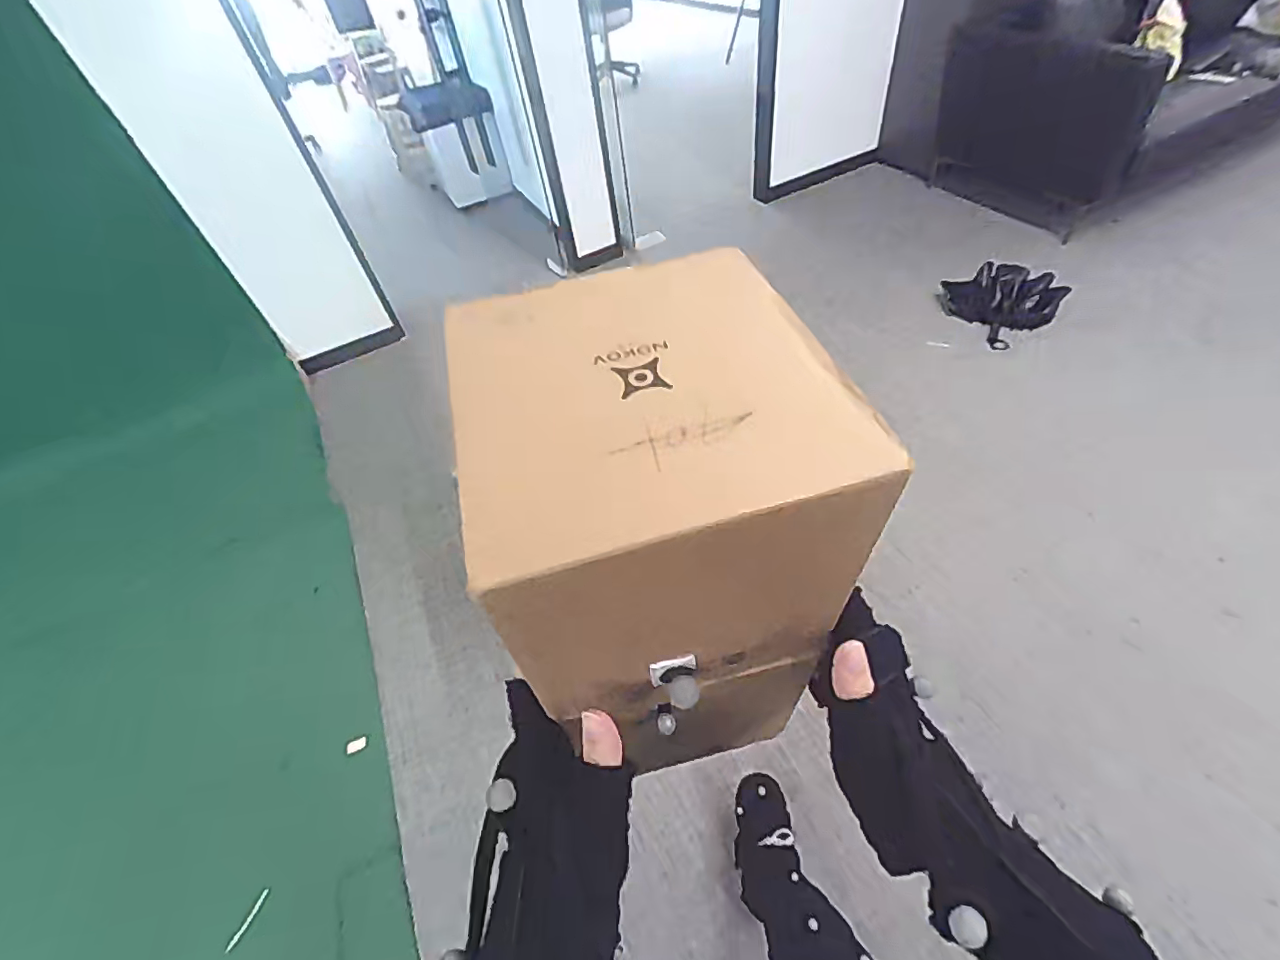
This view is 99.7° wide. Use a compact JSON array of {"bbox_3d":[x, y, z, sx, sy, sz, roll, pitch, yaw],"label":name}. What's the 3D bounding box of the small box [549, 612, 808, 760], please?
[{"bbox_3d":[0.014,0.103,0.447,0.168,0.176,0.179,-12,50,-6],"label":"small box"}]
